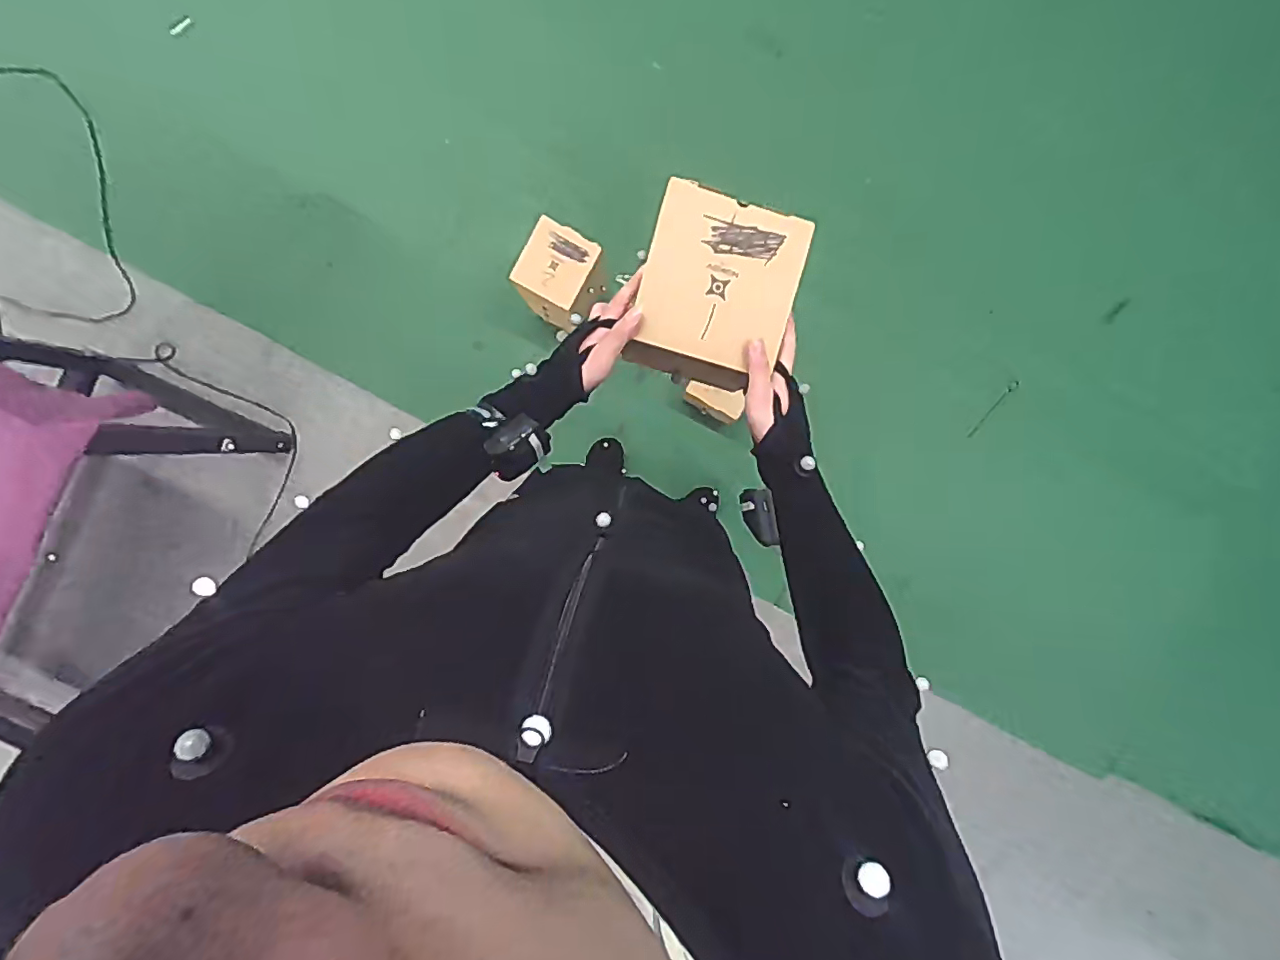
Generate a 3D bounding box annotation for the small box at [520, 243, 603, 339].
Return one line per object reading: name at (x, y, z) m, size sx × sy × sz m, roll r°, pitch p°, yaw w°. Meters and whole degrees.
small box at (-0.212, -0.523, 1.528) m, size 0.168 × 0.176 × 0.179 m, roll 28°, pitch 91°, yaw -2°

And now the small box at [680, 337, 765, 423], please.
small box at (0.226, -0.277, 1.547) m, size 0.168 × 0.176 × 0.179 m, roll 30°, pitch 92°, yaw -2°
